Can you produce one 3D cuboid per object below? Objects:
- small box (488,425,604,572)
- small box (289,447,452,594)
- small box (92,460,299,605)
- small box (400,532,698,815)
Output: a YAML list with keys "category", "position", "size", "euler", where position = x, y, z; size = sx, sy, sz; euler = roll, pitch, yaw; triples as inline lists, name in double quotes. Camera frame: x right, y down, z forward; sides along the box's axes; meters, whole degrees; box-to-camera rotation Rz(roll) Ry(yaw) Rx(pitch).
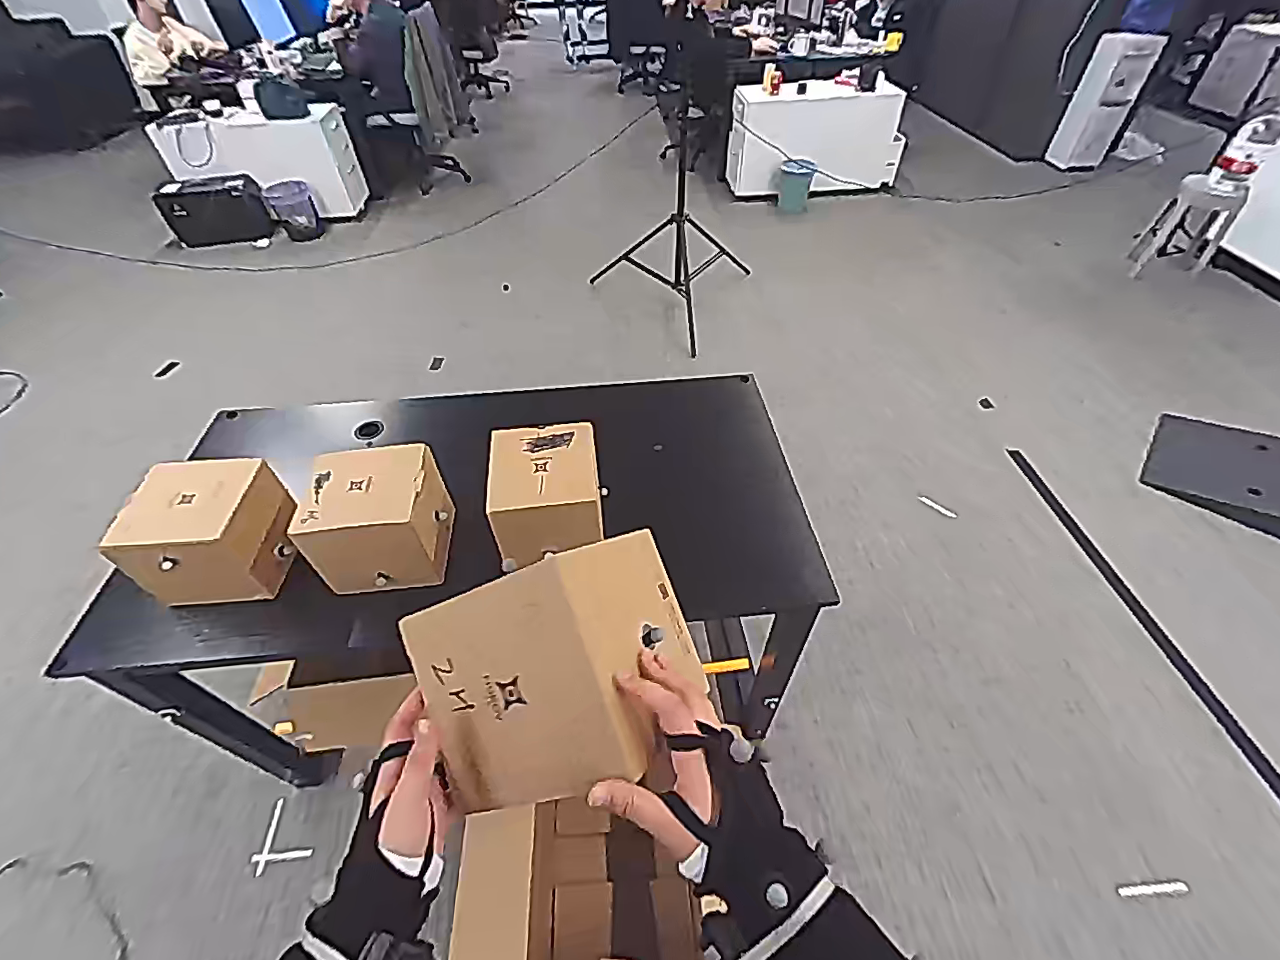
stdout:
- category: "small box"
  position: [-0.148, 0.031, 0.901]
  size: [0.168, 0.176, 0.179]
  euler: [-6, 48, -4]
- category: "small box"
  position: [-0.417, 0.067, 0.877]
  size: [0.179, 0.176, 0.168]
  euler: [-5, 47, -5]
- category: "small box"
  position: [-0.680, 0.087, 0.864]
  size: [0.179, 0.176, 0.168]
  euler: [-3, 48, -2]
- category: "small box"
  position: [-0.066, 0.155, 0.475]
  size: [0.179, 0.176, 0.168]
  euler: [-25, 82, 26]
